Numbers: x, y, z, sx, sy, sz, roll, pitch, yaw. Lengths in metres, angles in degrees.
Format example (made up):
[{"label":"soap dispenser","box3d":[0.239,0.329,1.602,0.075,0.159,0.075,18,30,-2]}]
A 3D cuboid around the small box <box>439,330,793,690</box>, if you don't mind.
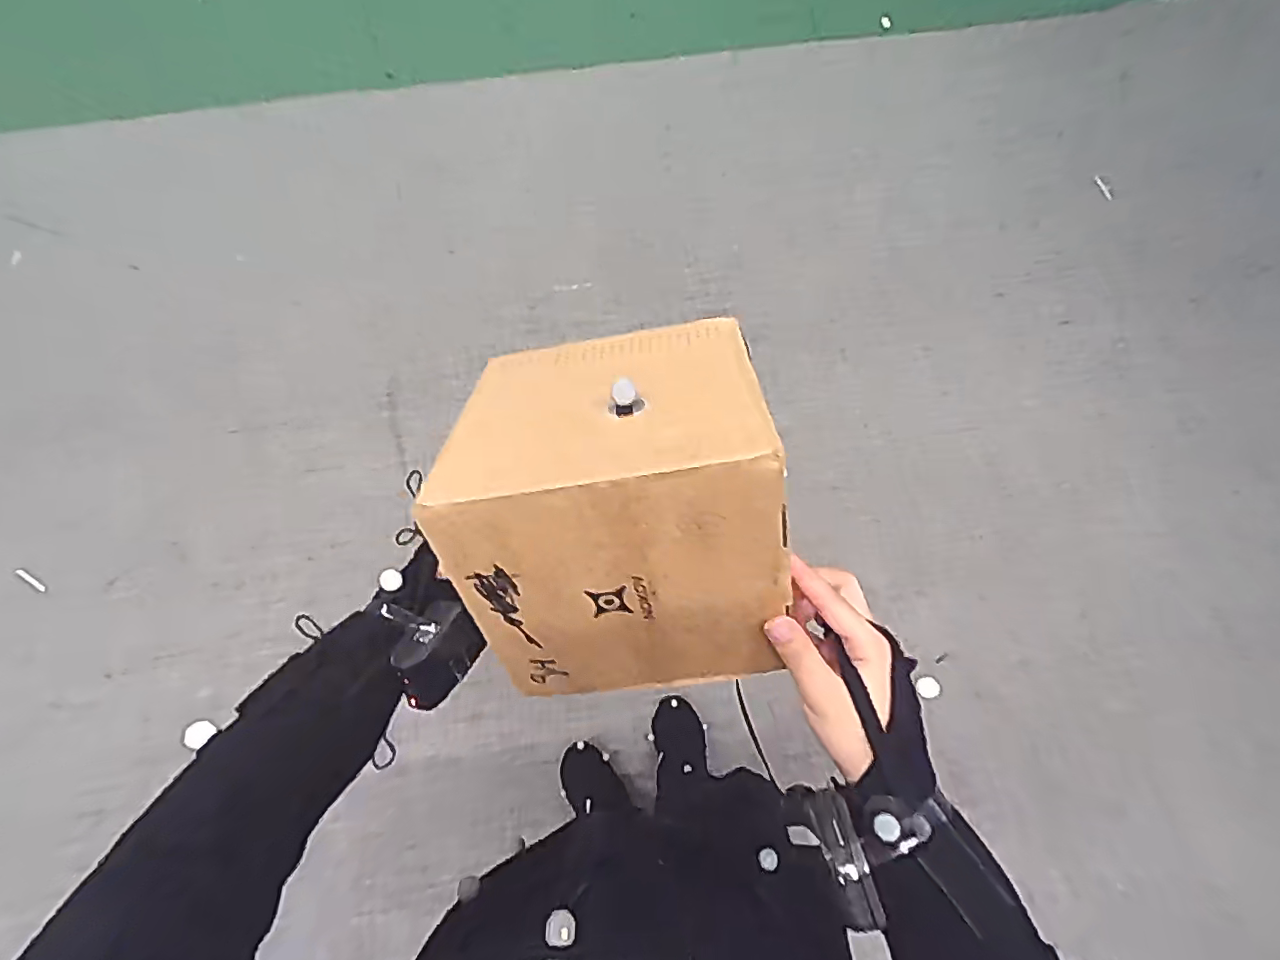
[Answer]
[{"label":"small box","box3d":[-0.004,0.014,0.368,0.179,0.168,0.176,-9,36,5]}]
